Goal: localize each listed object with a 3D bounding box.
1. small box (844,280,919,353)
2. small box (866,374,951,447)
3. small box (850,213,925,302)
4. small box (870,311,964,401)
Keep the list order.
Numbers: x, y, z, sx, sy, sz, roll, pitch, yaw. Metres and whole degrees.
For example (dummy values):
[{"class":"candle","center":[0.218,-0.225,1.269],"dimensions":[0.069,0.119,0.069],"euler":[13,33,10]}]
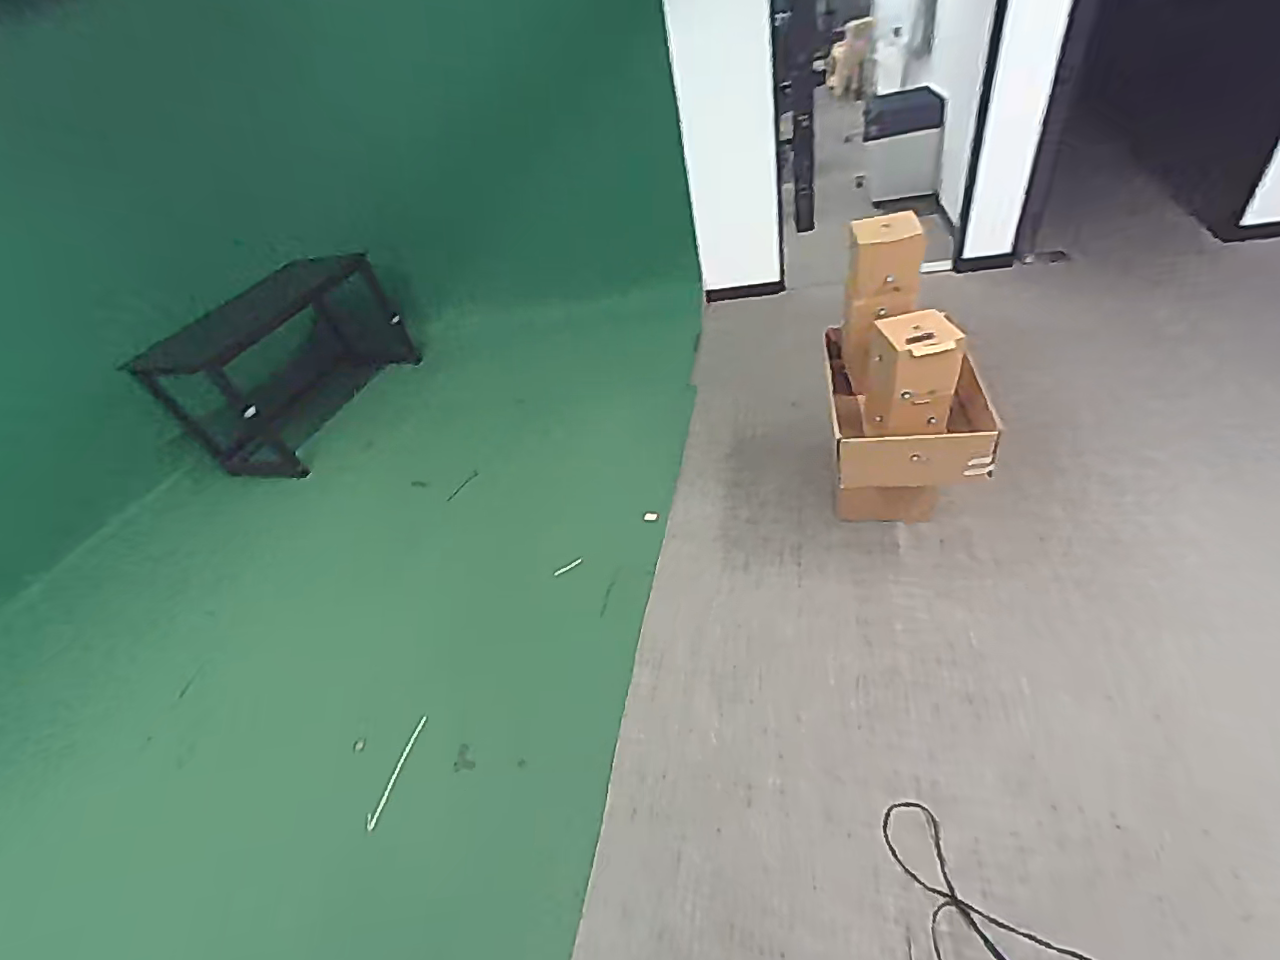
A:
[{"class":"small box","center":[0.731,-0.511,1.656],"dimensions":[0.179,0.176,0.168],"euler":[-6,43,14]},{"class":"small box","center":[0.770,-0.211,1.567],"dimensions":[0.168,0.176,0.179],"euler":[-11,41,6]},{"class":"small box","center":[0.701,-0.636,1.552],"dimensions":[0.168,0.176,0.179],"euler":[-5,44,15]},{"class":"small box","center":[0.736,-0.327,1.456],"dimensions":[0.168,0.176,0.179],"euler":[-11,41,5]}]
